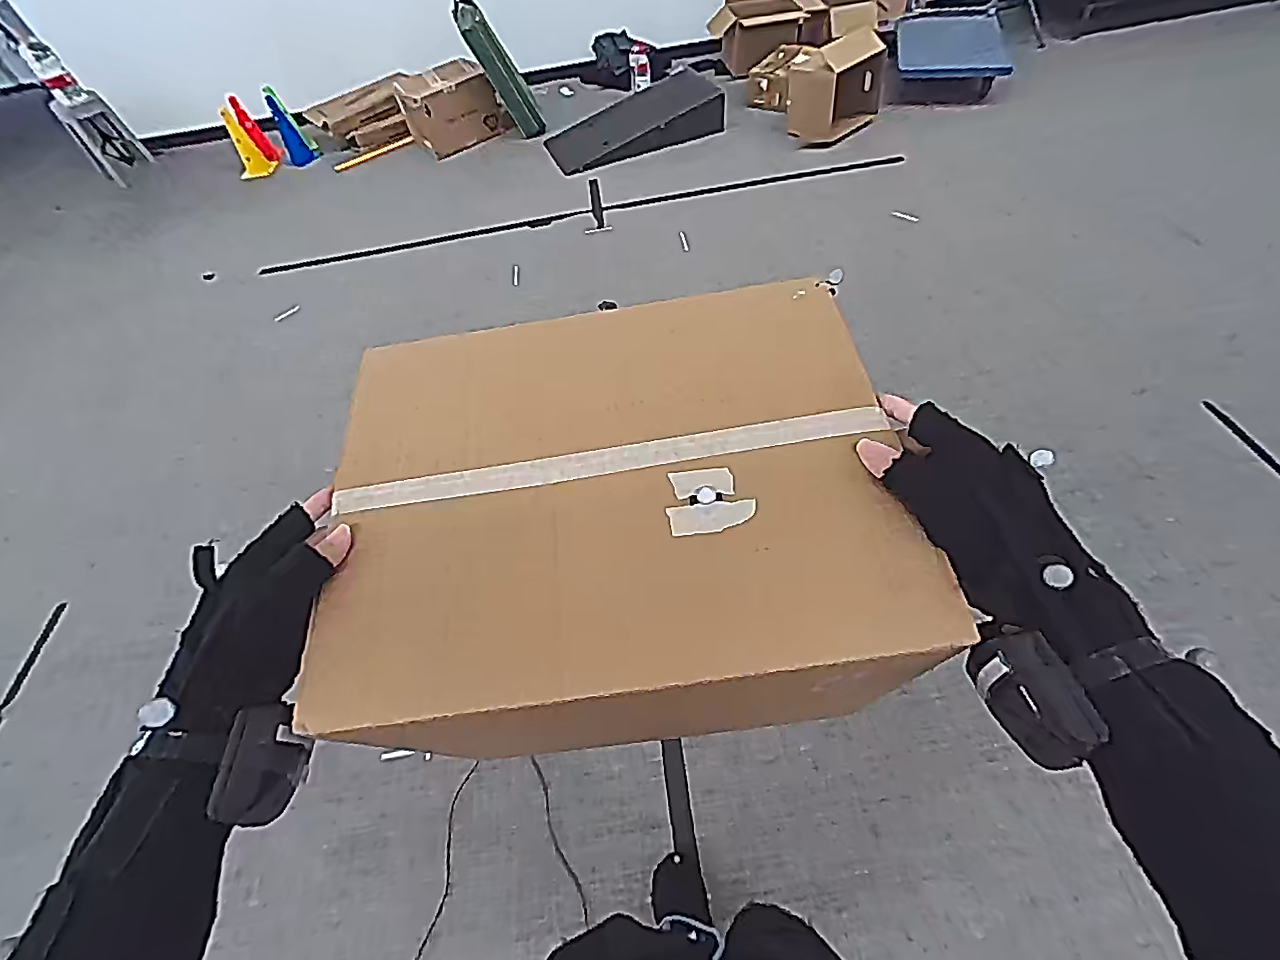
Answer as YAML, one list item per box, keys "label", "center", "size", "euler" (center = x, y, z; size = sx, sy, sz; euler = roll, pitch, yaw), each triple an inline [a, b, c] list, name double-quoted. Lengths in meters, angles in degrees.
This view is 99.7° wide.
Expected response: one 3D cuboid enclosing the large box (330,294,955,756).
- label: "large box"
  center: [-0.005, 0.068, 0.537]
  size: [0.408, 0.320, 0.320]
  euler: [-8, 60, 1]
